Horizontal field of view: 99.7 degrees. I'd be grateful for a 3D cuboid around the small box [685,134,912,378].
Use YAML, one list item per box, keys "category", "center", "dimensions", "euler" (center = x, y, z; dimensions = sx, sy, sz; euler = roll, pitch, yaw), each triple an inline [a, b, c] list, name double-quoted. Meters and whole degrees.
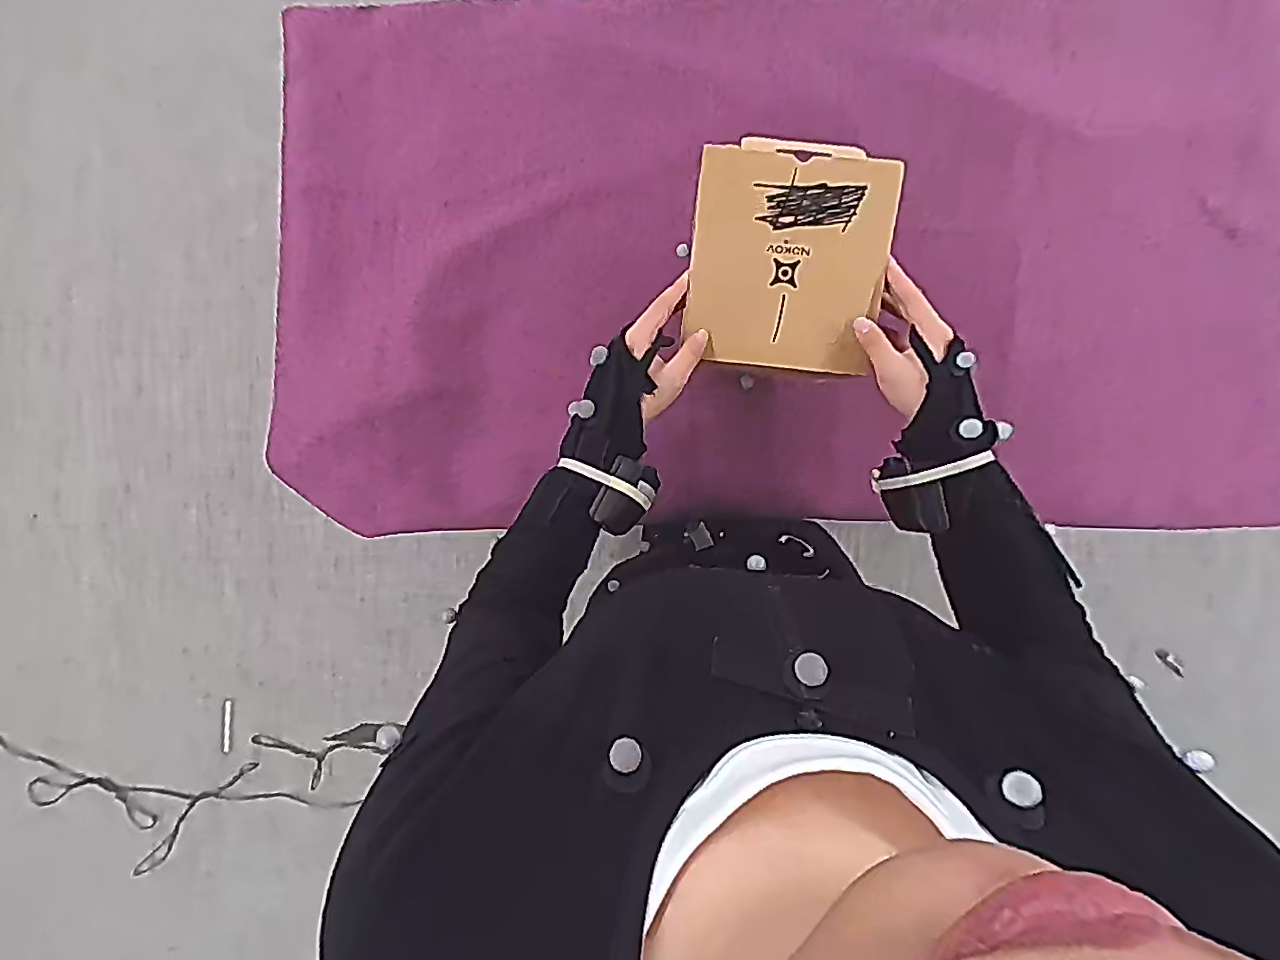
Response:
- category: "small box"
  center: [0.135, -0.199, 0.529]
  dimensions: [0.168, 0.176, 0.179]
  euler: [6, 99, 3]
